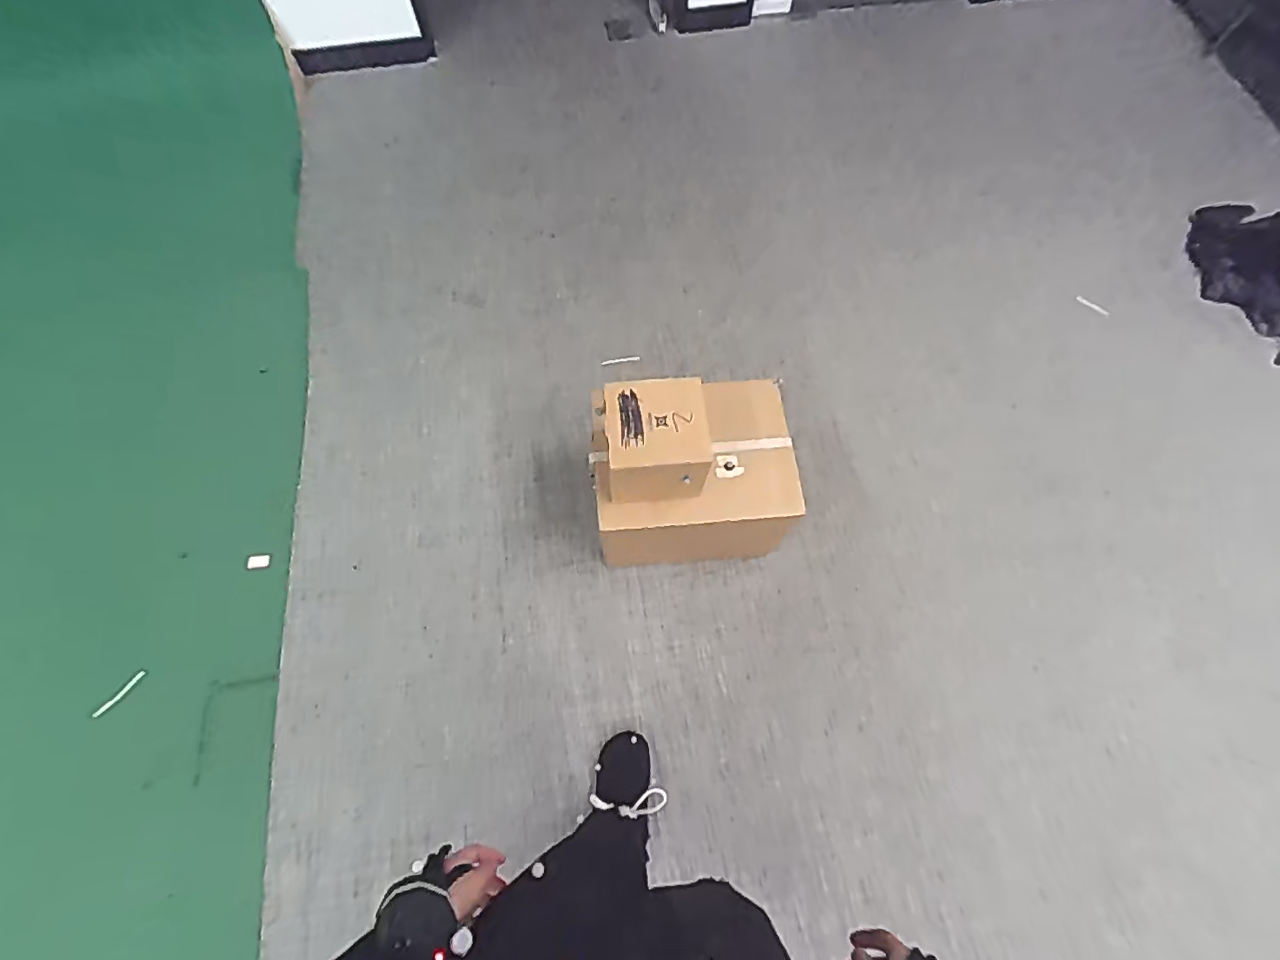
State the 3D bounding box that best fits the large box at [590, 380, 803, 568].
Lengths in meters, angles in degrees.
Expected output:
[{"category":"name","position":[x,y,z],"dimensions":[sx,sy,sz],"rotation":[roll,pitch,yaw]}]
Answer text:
[{"category":"large box","position":[0.102,-0.001,1.229],"dimensions":[0.408,0.320,0.320],"rotation":[-4,69,-4]}]
